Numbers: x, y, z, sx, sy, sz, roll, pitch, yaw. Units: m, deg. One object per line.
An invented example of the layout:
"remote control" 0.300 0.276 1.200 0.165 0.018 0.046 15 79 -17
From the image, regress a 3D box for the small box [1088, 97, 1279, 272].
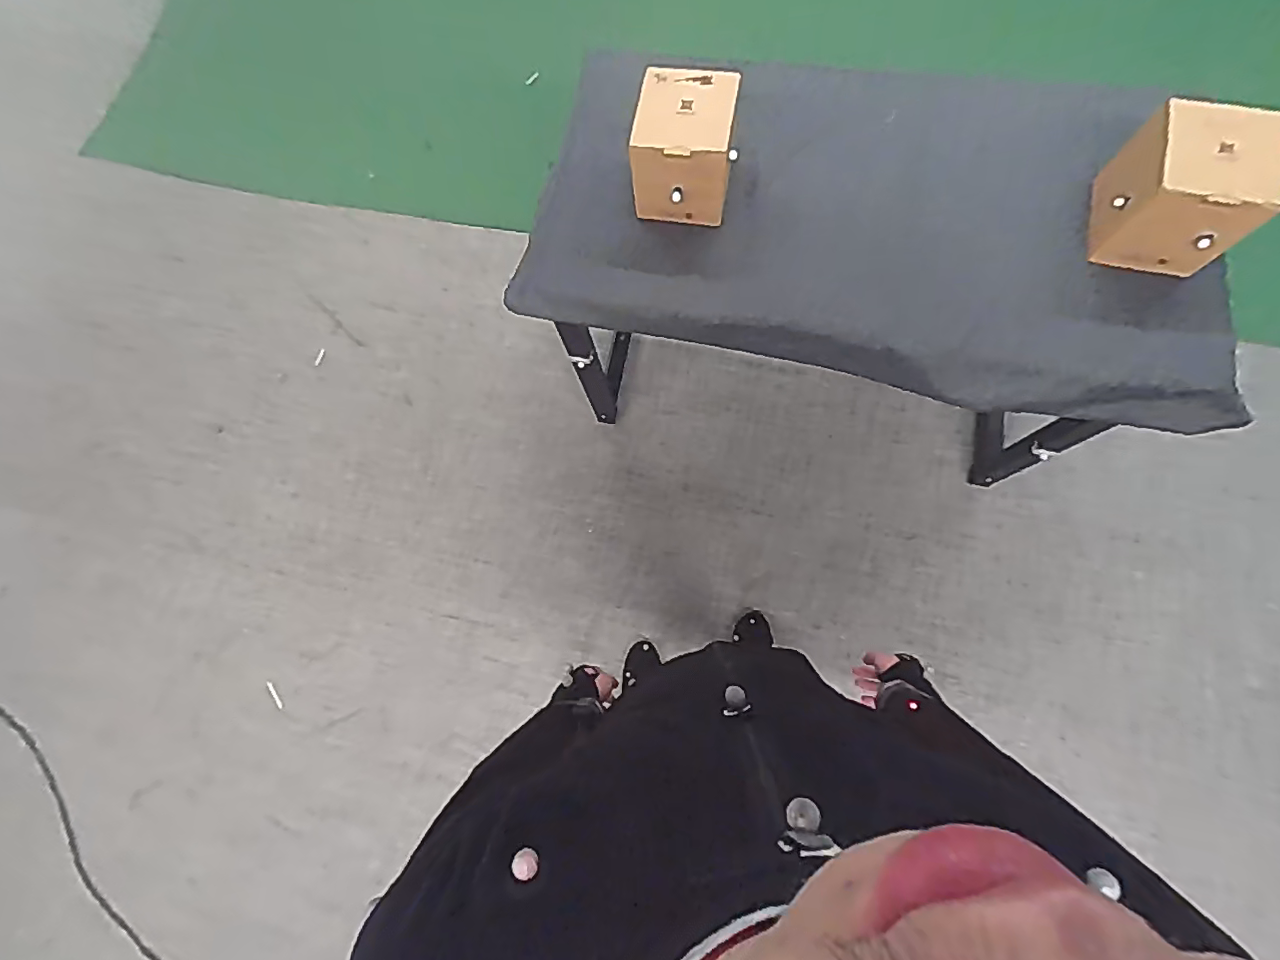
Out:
"small box" 0.873 -0.468 0.876 0.168 0.176 0.179 14 76 8

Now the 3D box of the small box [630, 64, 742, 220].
"small box" 0.085 -0.605 0.984 0.168 0.176 0.179 10 76 7
